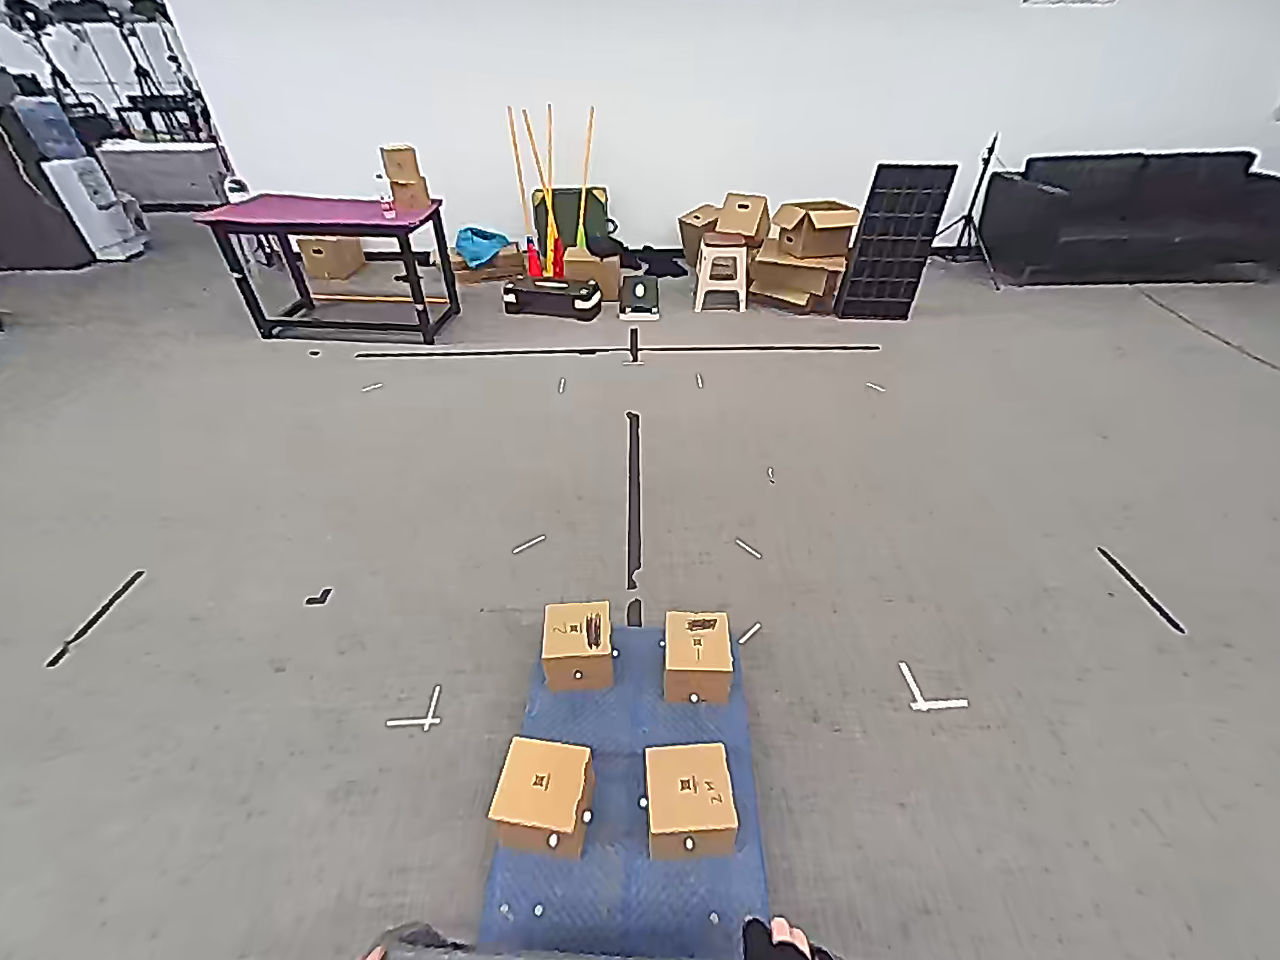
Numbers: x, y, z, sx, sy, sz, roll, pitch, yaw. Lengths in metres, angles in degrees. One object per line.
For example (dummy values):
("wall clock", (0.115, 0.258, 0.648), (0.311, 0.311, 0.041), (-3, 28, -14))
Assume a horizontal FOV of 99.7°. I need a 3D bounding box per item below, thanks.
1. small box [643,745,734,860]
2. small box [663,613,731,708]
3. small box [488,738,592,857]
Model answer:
("small box", (0.098, 0.698, 1.169), (0.179, 0.176, 0.168), (-2, 39, -2))
("small box", (0.146, 0.479, 1.441), (0.168, 0.176, 0.179), (1, 40, 2))
("small box", (-0.208, 0.693, 1.178), (0.179, 0.176, 0.168), (6, 39, 6))
